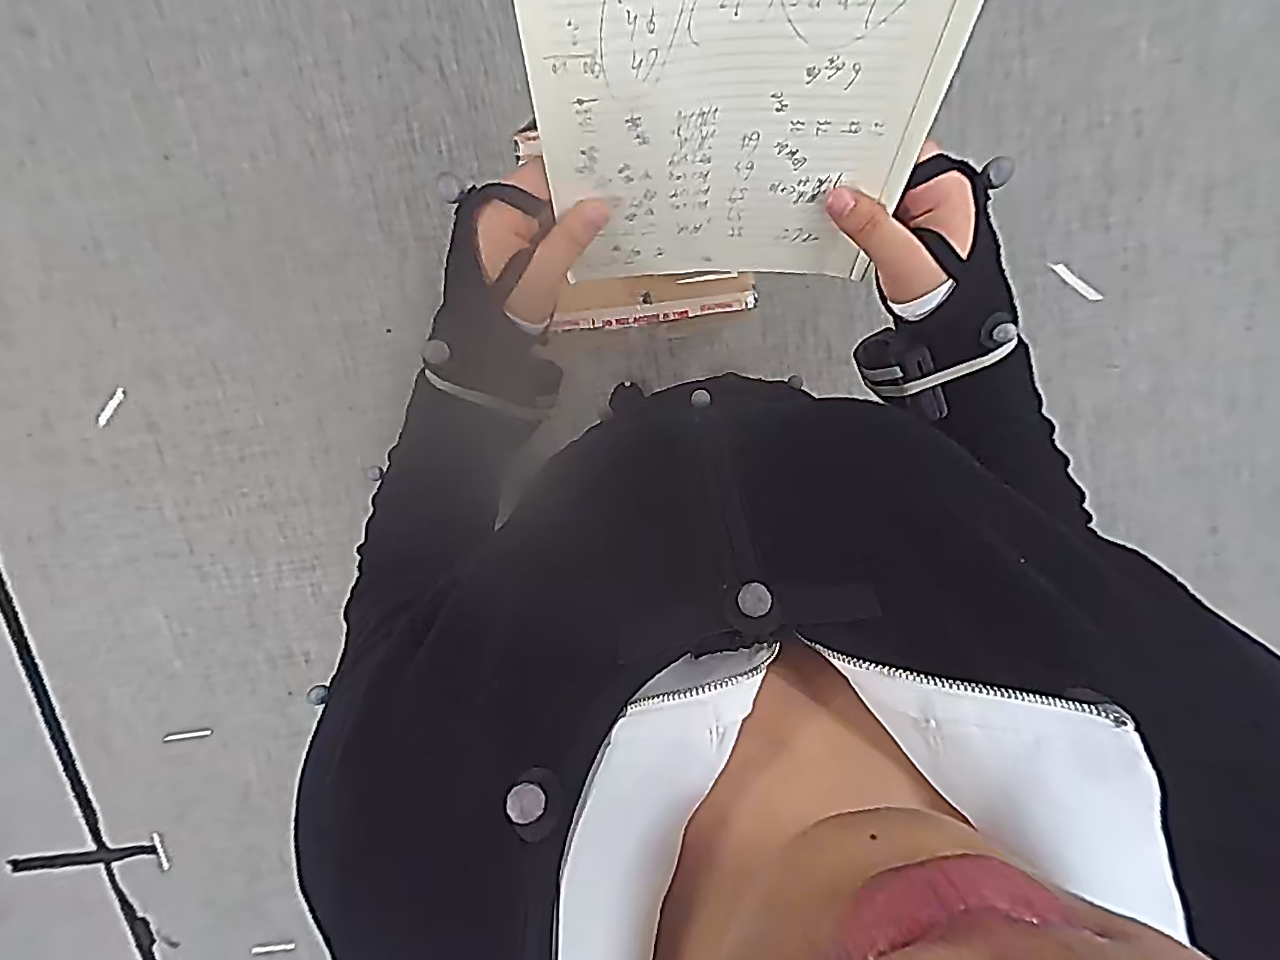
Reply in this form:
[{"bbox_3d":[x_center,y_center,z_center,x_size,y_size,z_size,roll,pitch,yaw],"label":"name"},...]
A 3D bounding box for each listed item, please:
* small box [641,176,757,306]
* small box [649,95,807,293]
[{"bbox_3d":[0.100,-0.383,0.860,0.179,0.176,0.168,-11,101,2],"label":"small box"},{"bbox_3d":[0.104,-0.352,0.698,0.168,0.176,0.179,-8,102,1],"label":"small box"}]
